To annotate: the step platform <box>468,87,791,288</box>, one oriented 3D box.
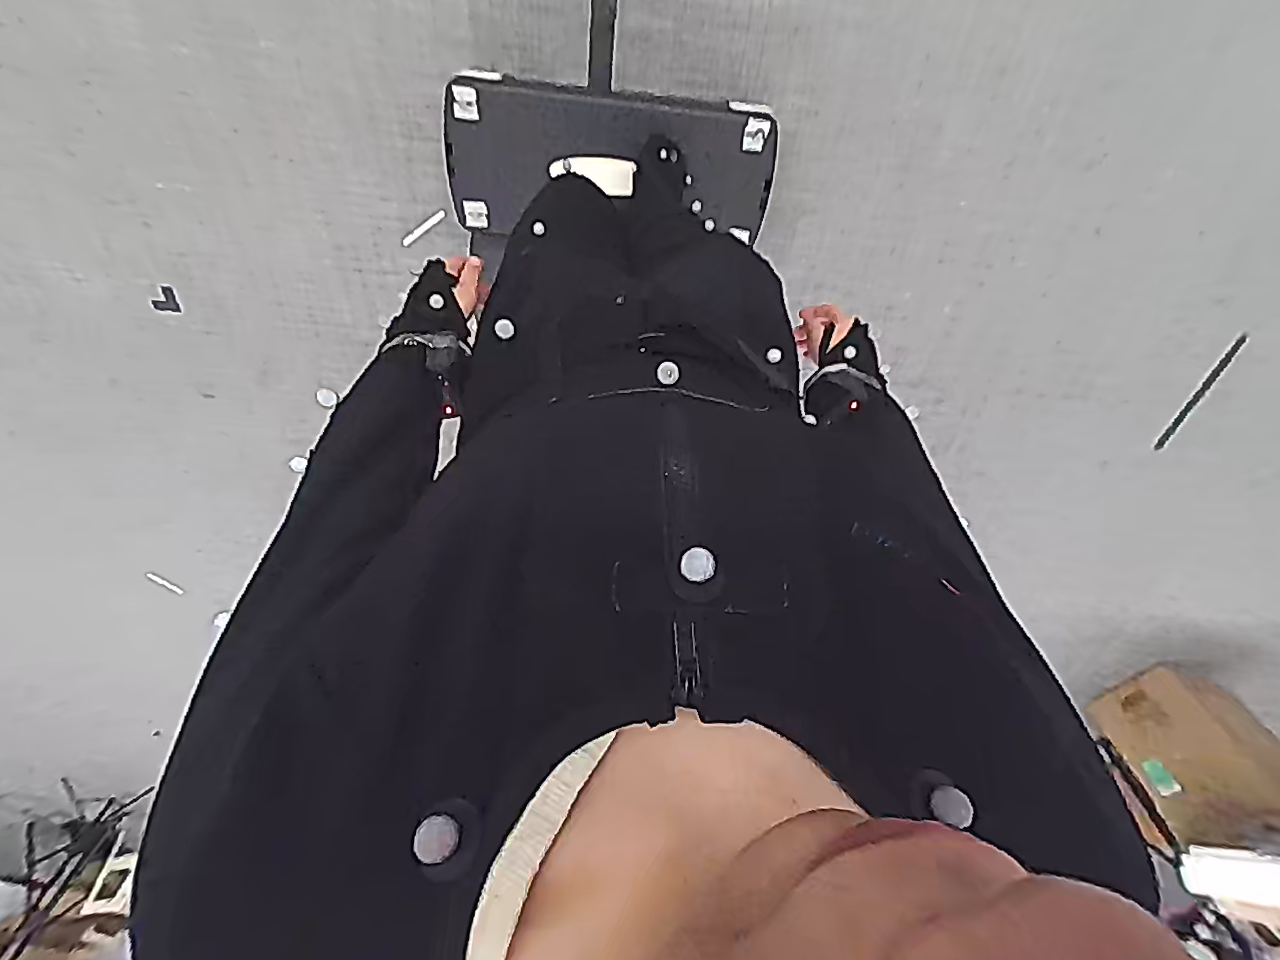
[{"bbox_3d":[-0.024,-0.636,1.198,0.684,0.204,0.286,7,126,-7],"label":"step platform"}]
